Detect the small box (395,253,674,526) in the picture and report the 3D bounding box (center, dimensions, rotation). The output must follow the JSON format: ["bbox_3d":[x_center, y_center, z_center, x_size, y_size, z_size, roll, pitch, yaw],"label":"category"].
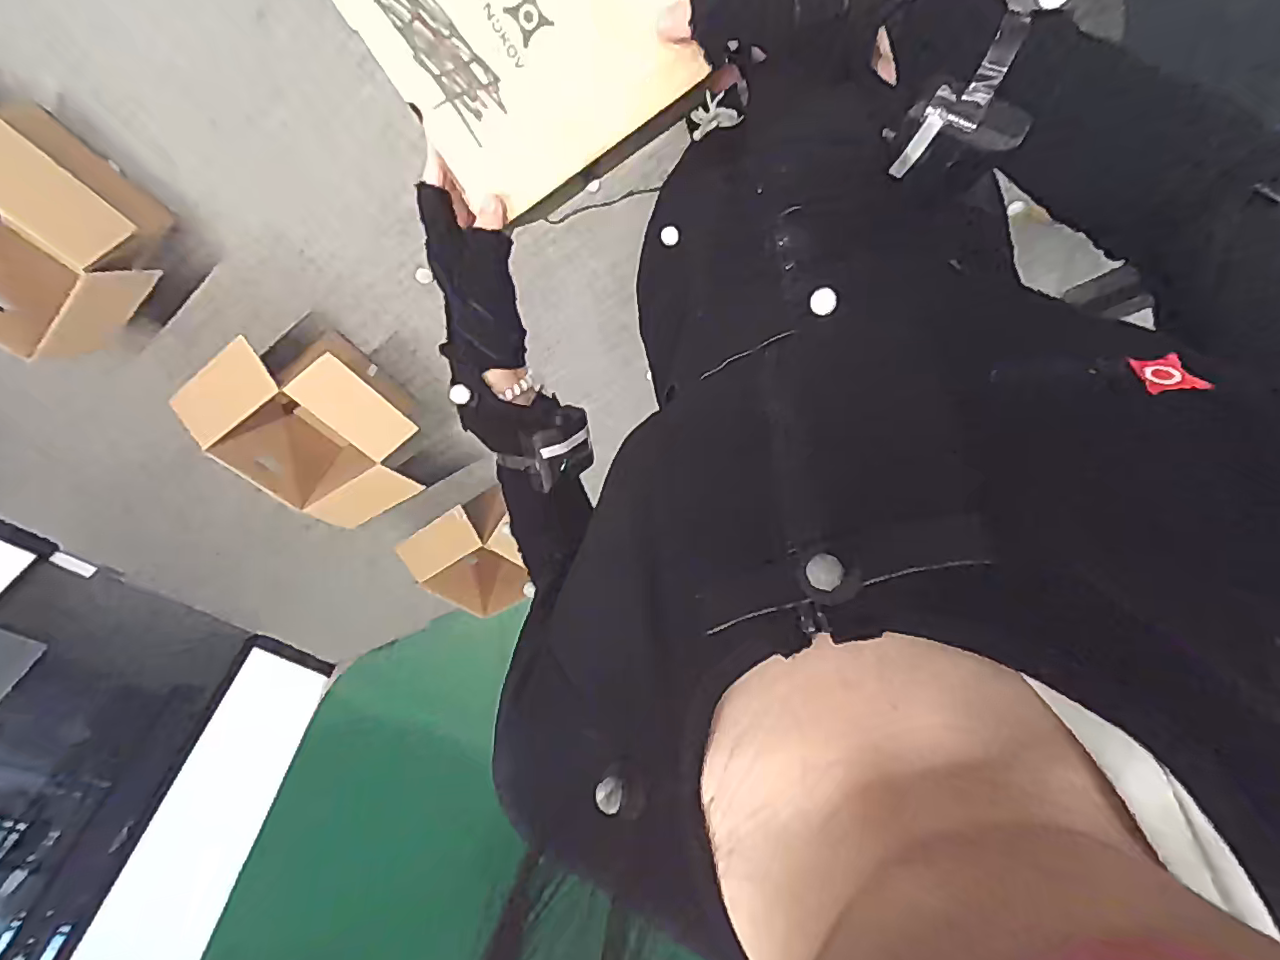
[{"bbox_3d":[-0.097,-0.063,0.475,0.168,0.179,0.176,-6,175,-45],"label":"small box"}]

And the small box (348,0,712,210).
[{"bbox_3d":[-0.065,-0.314,0.377,0.179,0.176,0.168,-27,114,16],"label":"small box"}]
